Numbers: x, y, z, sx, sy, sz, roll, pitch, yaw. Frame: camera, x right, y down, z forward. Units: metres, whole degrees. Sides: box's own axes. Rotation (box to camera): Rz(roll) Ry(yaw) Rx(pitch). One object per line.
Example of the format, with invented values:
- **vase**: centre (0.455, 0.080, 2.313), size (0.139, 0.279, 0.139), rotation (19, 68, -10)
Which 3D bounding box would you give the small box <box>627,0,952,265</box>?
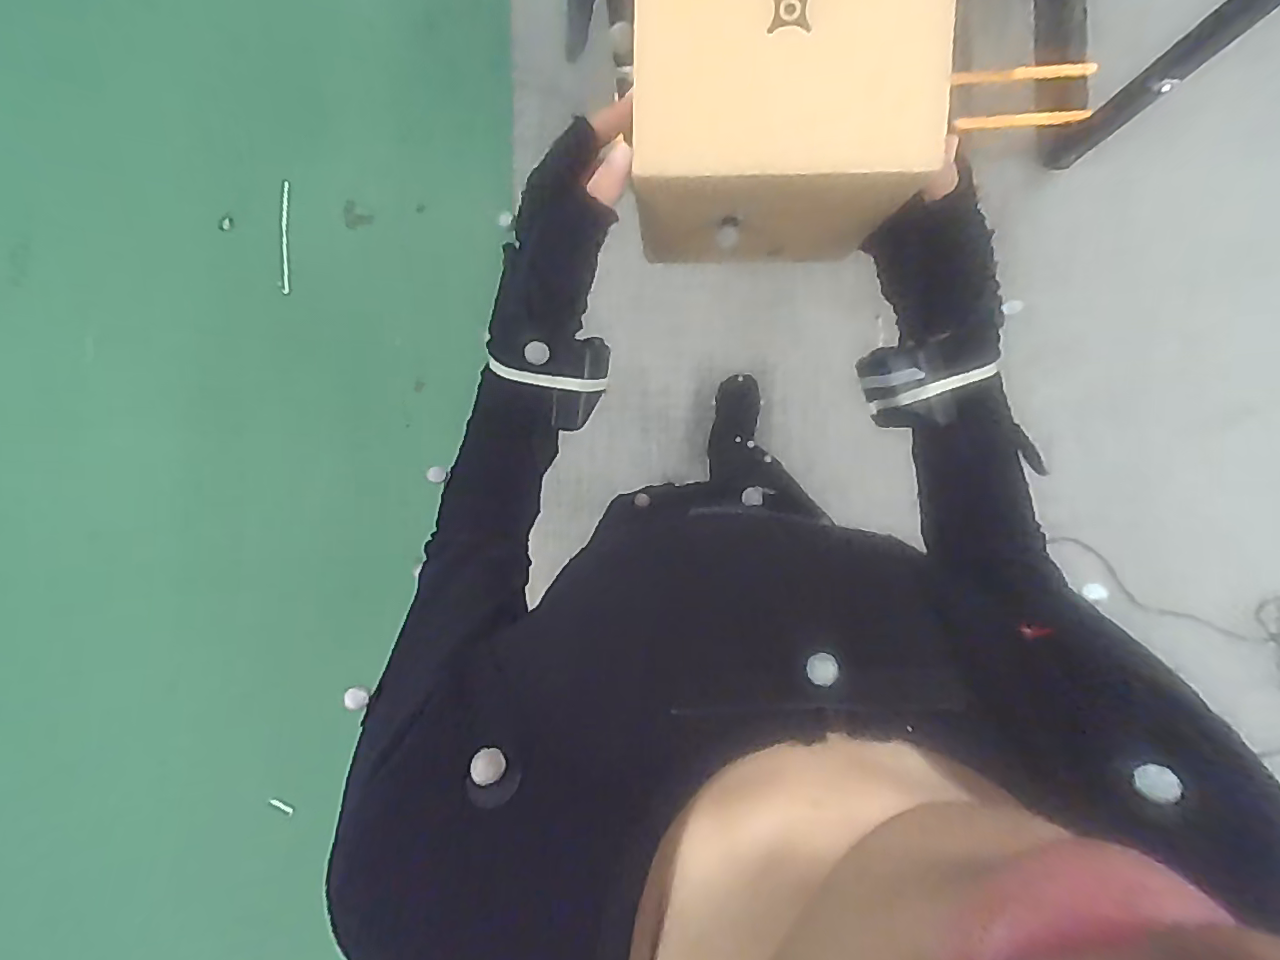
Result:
- **small box**: centre (0.083, -0.253, 0.360), size (0.168, 0.176, 0.179), rotation (1, 94, 4)
